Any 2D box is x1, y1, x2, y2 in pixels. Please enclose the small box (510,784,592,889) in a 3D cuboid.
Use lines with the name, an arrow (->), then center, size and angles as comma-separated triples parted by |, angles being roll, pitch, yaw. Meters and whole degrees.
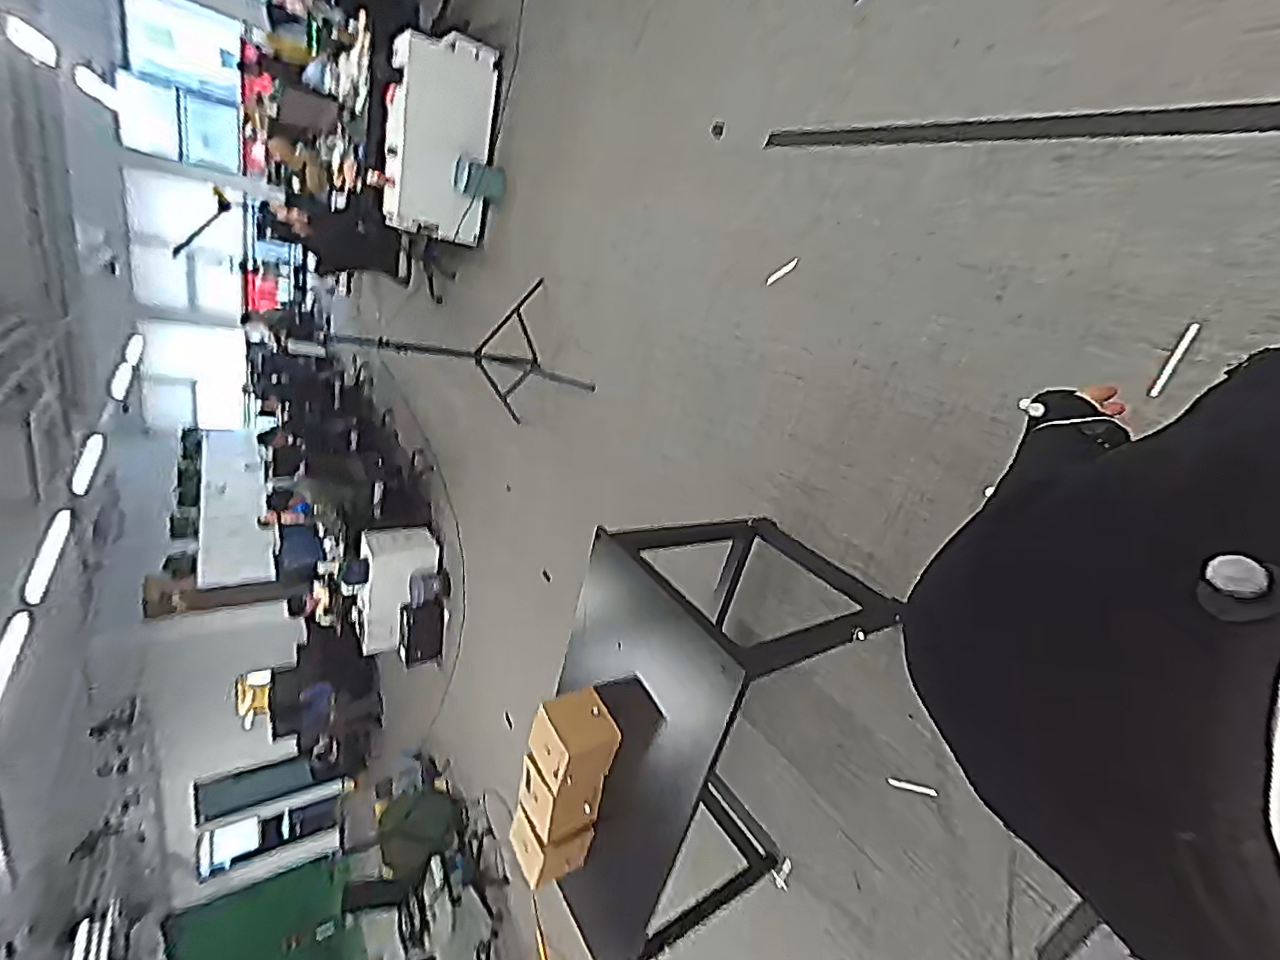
small box -> -0.265, 1.050, 1.607 | 0.179, 0.176, 0.168 | 42, 122, 44
